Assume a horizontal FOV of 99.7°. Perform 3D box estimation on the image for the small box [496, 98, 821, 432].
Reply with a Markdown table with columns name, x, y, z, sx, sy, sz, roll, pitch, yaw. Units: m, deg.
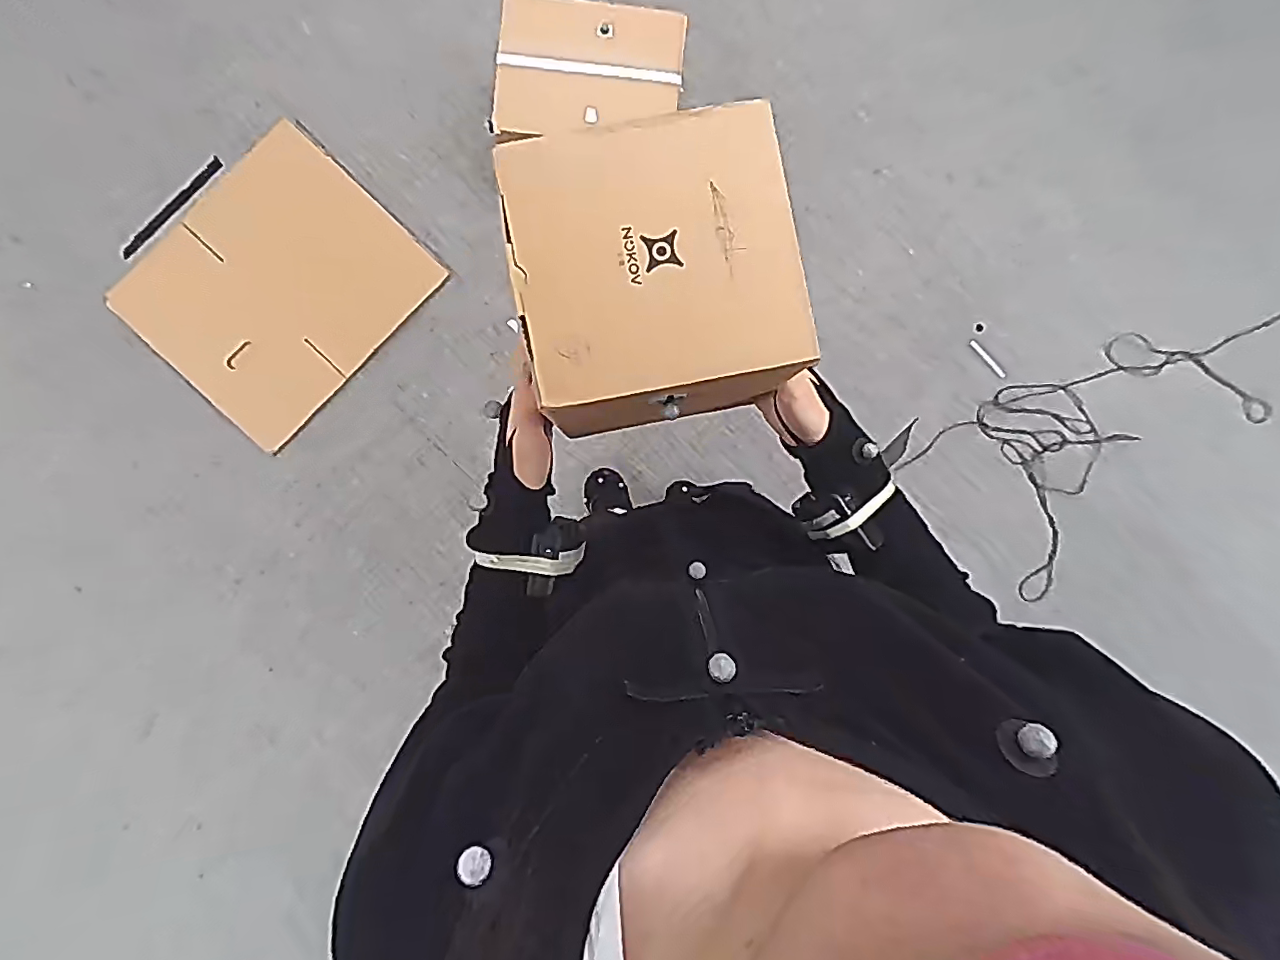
| name | x | y | z | sx | sy | sz | roll | pitch | yaw |
| --- | --- | --- | --- | --- | --- | --- | --- | --- | --- |
| small box | 0.010 | -0.136 | 0.407 | 0.179 | 0.176 | 0.168 | -11 | 89 | -2 |
